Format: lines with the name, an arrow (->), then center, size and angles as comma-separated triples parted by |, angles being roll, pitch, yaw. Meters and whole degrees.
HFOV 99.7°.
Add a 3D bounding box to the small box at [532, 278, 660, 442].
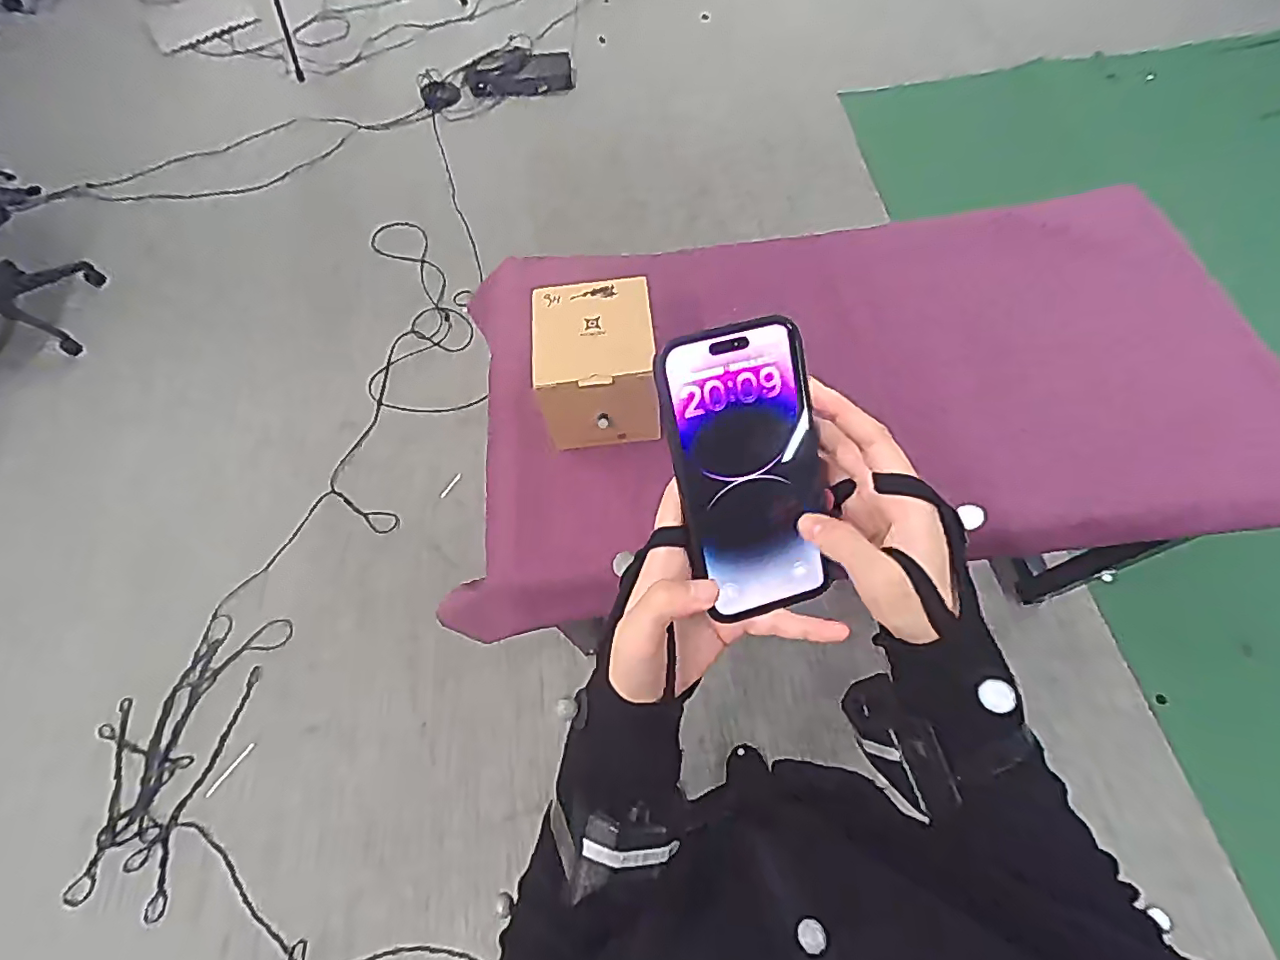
small box -> -0.060, -0.168, 0.808 | 0.168, 0.176, 0.179 | -6, 64, 1
